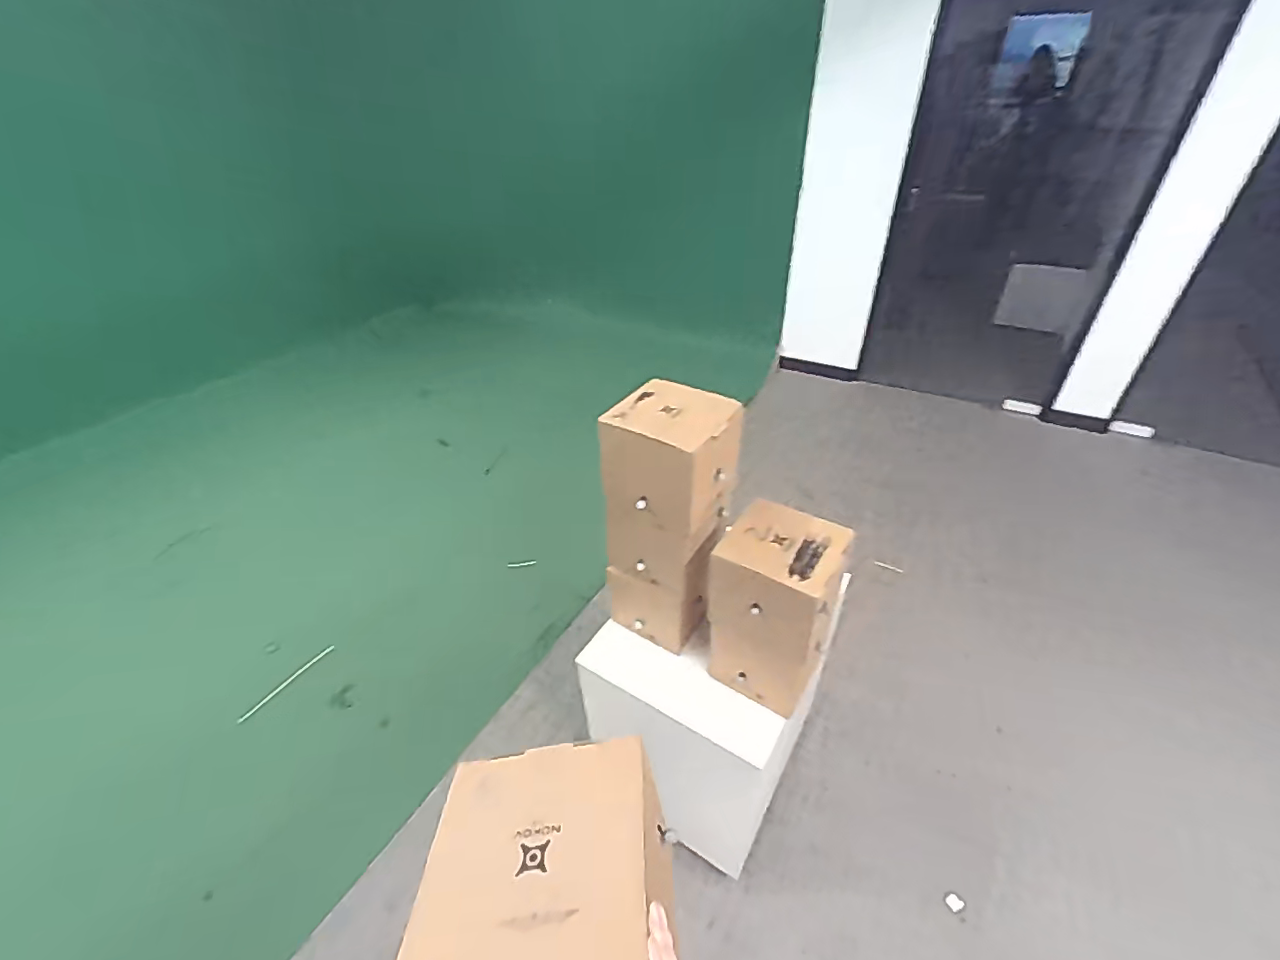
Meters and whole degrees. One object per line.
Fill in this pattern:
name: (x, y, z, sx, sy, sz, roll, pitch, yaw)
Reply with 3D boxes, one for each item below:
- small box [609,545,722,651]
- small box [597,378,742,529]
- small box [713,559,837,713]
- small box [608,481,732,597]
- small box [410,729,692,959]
small box: (0.052, 0.210, 1.110, 0.168, 0.176, 0.179, 21, 44, 26)
small box: (0.050, -0.043, 0.901, 0.179, 0.176, 0.168, 23, 44, 27)
small box: (0.243, 0.287, 1.002, 0.168, 0.176, 0.179, 21, 44, 29)
small box: (0.054, 0.080, 1.010, 0.168, 0.176, 0.179, 22, 44, 27)
small box: (-0.053, 0.337, 0.432, 0.168, 0.176, 0.179, -11, 26, 4)
